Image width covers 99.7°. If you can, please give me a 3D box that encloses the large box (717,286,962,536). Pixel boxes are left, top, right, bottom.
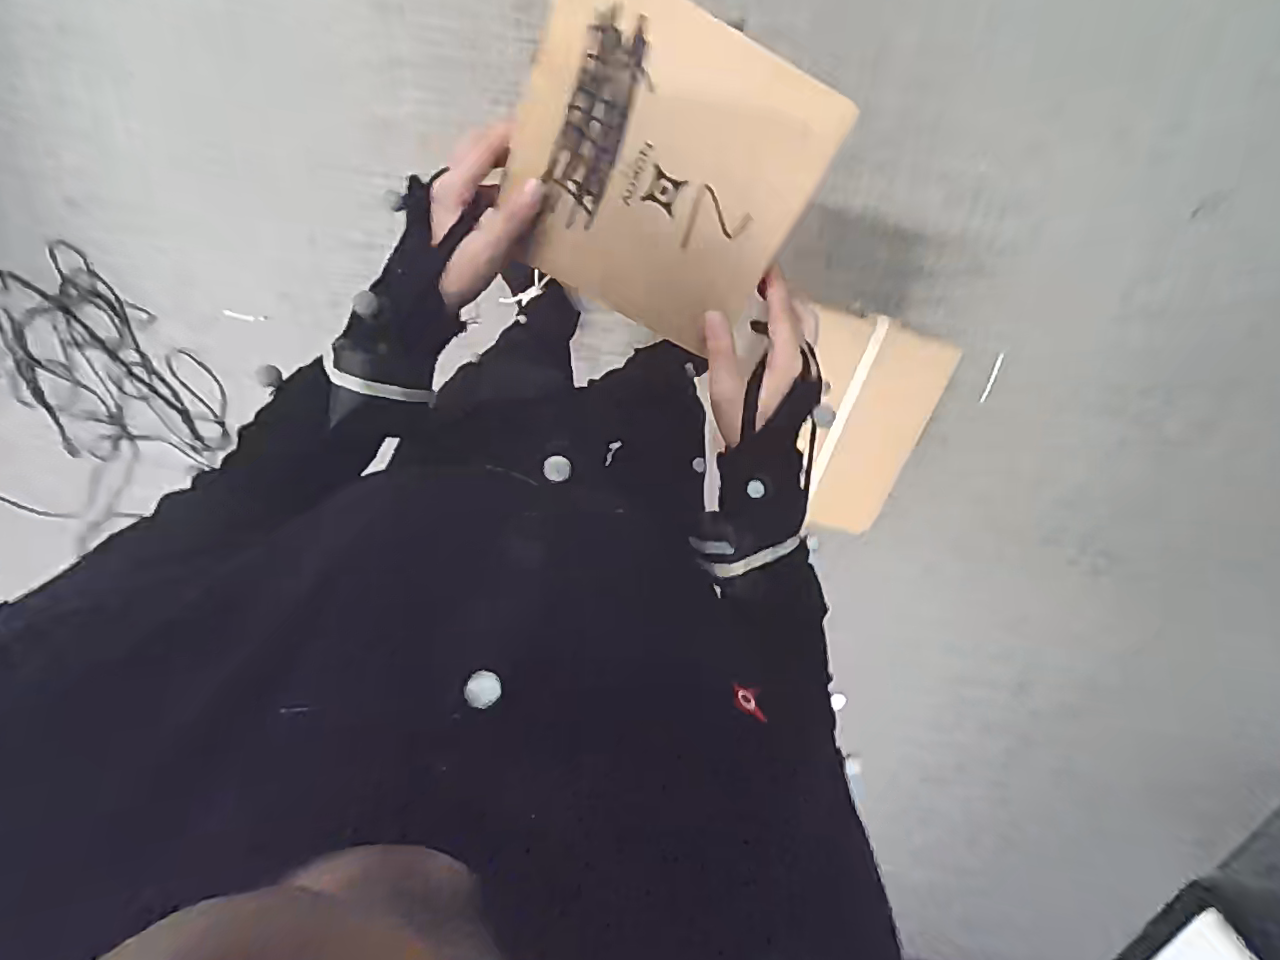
[{"bbox_3d":[0.376,-0.157,1.146,0.320,0.320,0.408,15,116,-3],"label":"large box"}]
